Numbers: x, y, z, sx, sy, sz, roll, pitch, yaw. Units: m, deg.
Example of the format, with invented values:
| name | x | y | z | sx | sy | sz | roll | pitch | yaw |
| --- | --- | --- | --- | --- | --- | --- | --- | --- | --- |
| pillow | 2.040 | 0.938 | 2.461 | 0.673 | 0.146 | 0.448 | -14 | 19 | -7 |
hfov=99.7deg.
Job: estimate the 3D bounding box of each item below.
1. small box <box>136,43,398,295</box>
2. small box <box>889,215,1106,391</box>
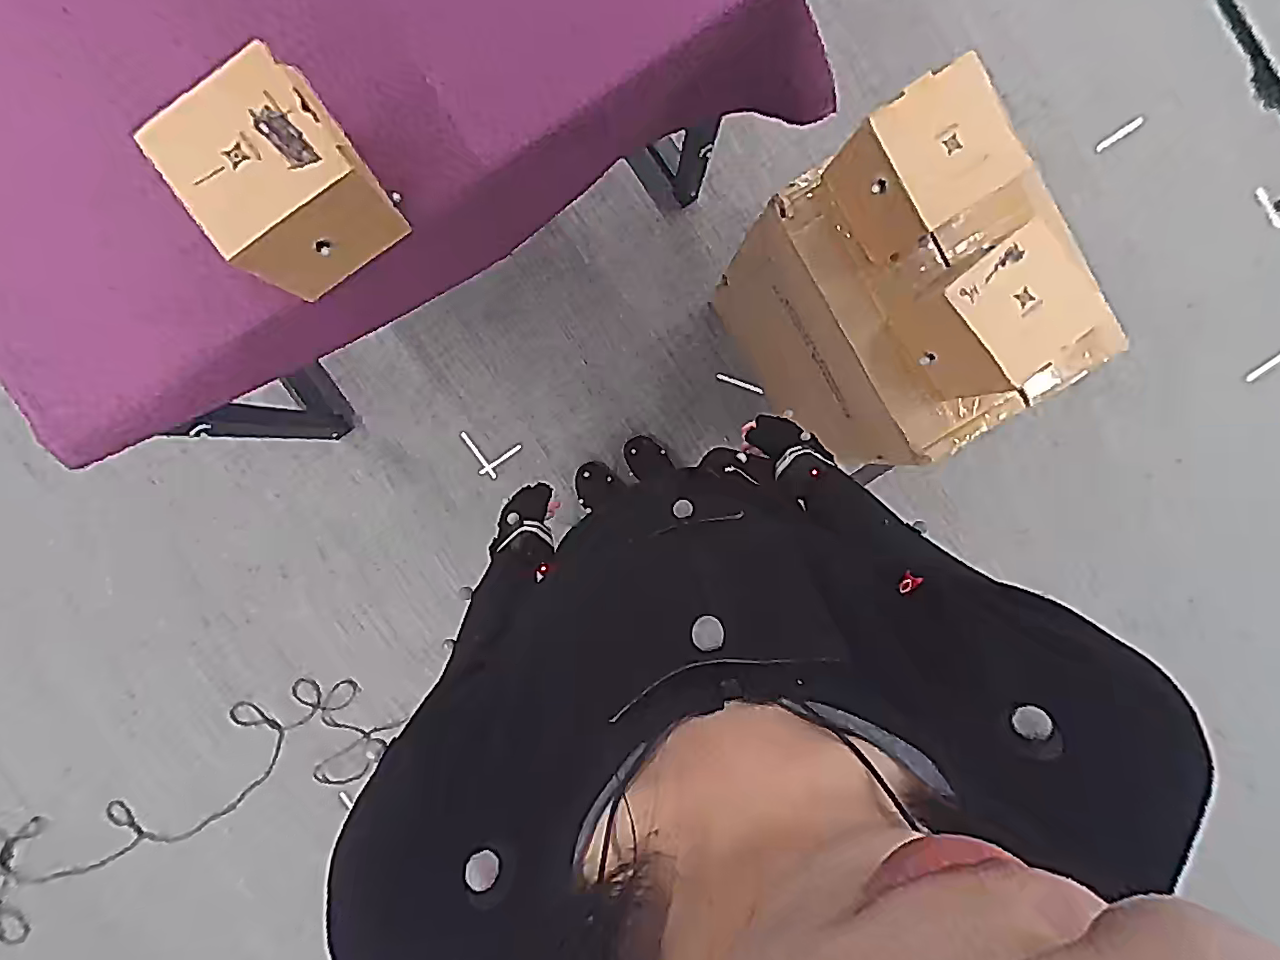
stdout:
| name | x | y | z | sx | sy | sz | roll | pitch | yaw |
| --- | --- | --- | --- | --- | --- | --- | --- | --- | --- |
| small box | -0.429 | -0.360 | 0.664 | 0.179 | 0.176 | 0.168 | -35 | 93 | 0 |
| small box | 0.523 | -0.249 | 0.816 | 0.168 | 0.176 | 0.179 | -39 | 93 | 1 |
